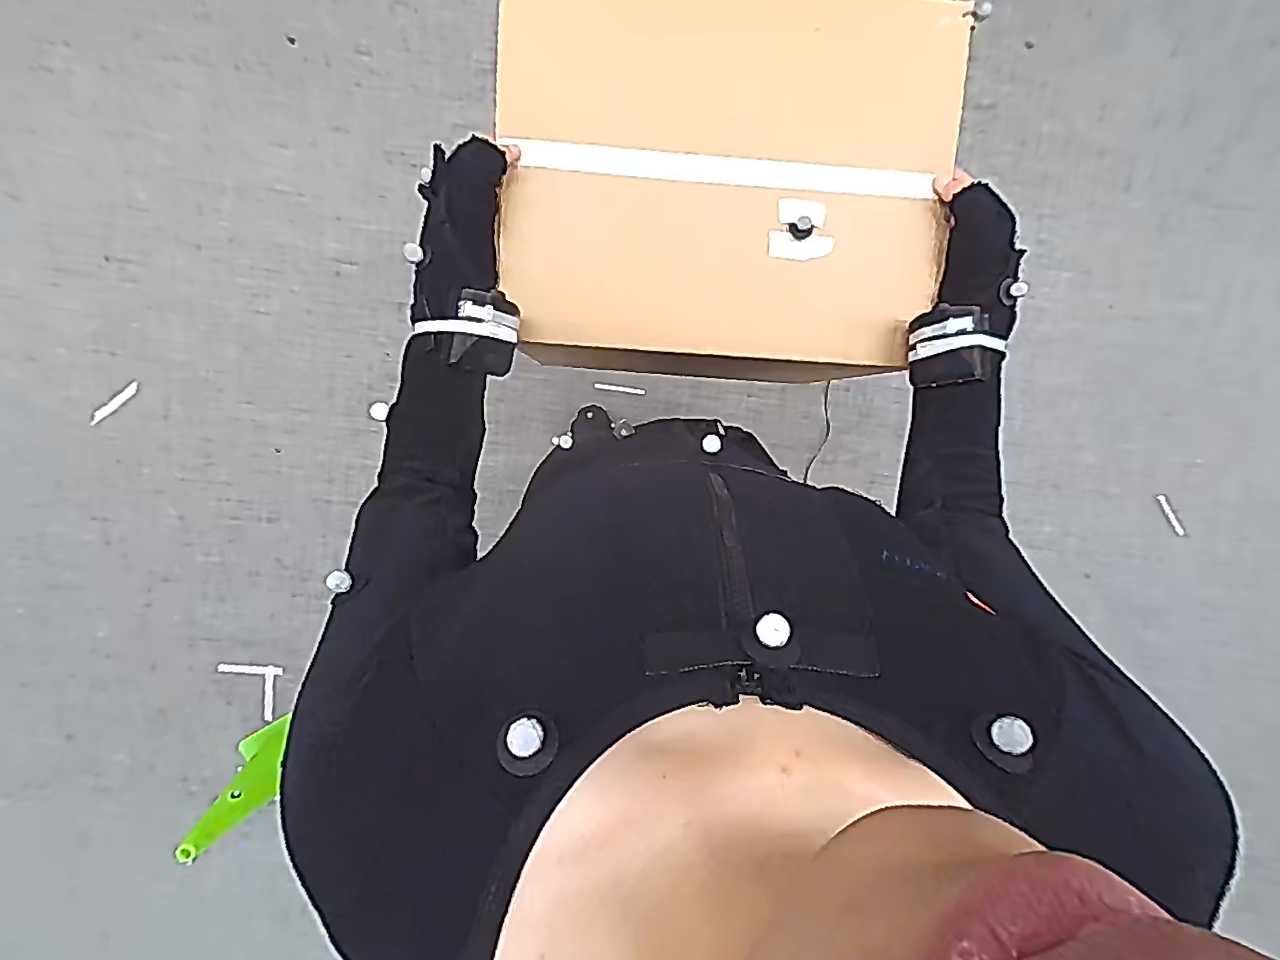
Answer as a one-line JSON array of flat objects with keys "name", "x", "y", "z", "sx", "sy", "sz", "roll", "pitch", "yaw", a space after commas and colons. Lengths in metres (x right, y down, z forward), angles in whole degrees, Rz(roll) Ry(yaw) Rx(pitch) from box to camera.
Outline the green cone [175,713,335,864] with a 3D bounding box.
[{"name": "green cone", "x": -0.978, "y": 0.785, "z": 1.337, "sx": 0.202, "sy": 0.368, "sz": 0.200, "roll": -31, "pitch": 95, "yaw": 2}]

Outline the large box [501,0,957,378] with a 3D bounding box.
[{"name": "large box", "x": 0.067, "y": -0.292, "z": 0.629, "sx": 0.408, "sy": 0.320, "sz": 0.320, "roll": 3, "pitch": 98, "yaw": -4}]
